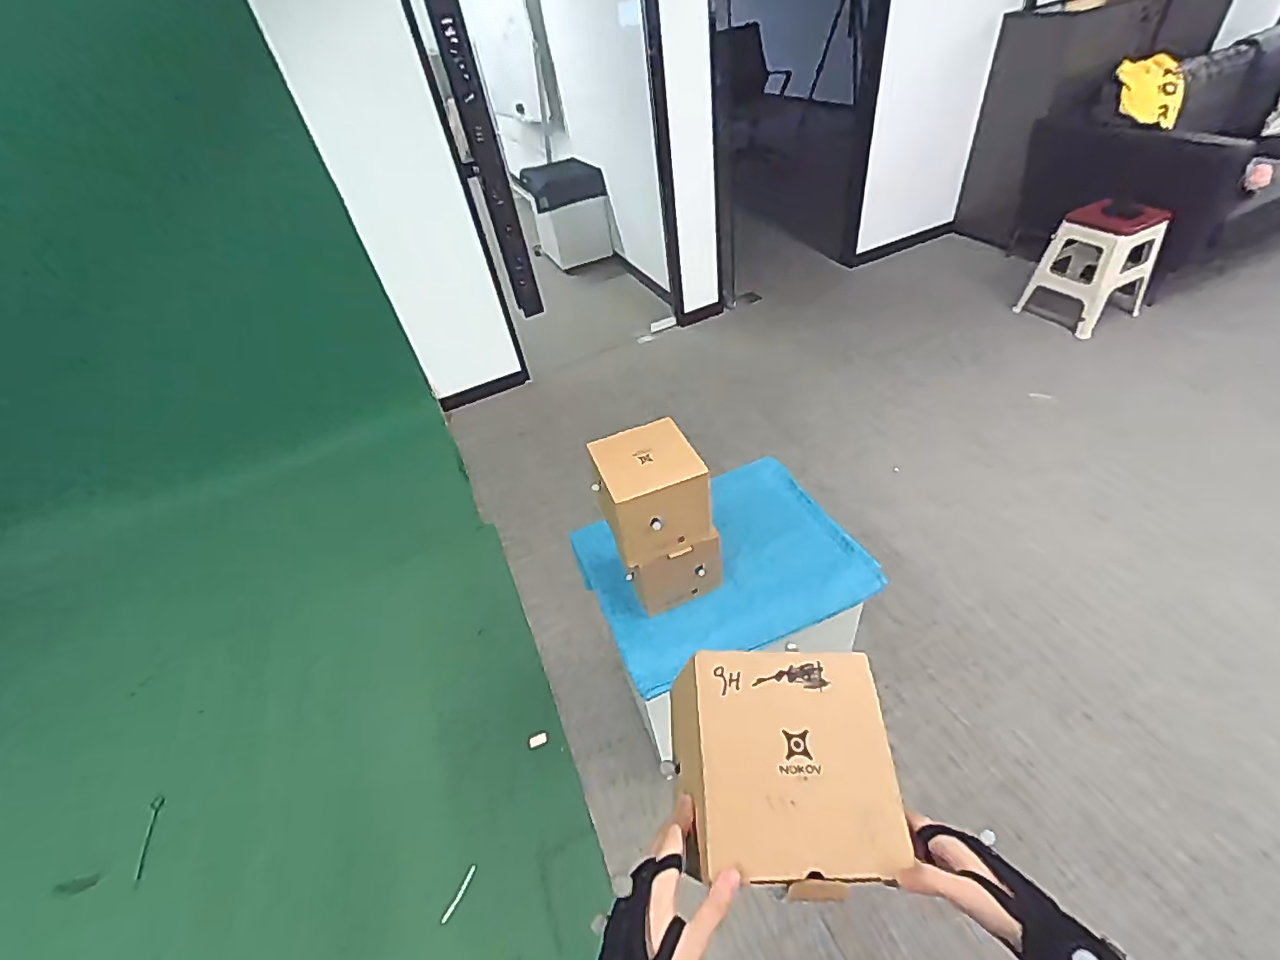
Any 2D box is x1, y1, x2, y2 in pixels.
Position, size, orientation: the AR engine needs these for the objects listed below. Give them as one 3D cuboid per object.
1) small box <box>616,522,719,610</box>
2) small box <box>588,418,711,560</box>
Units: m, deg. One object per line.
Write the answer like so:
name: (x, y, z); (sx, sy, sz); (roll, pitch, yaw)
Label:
small box: (0.052, 0.137, 1.082); (0.168, 0.176, 0.179); (-19, 42, -11)
small box: (0.020, 0.022, 0.971); (0.168, 0.176, 0.179); (-18, 41, -10)
